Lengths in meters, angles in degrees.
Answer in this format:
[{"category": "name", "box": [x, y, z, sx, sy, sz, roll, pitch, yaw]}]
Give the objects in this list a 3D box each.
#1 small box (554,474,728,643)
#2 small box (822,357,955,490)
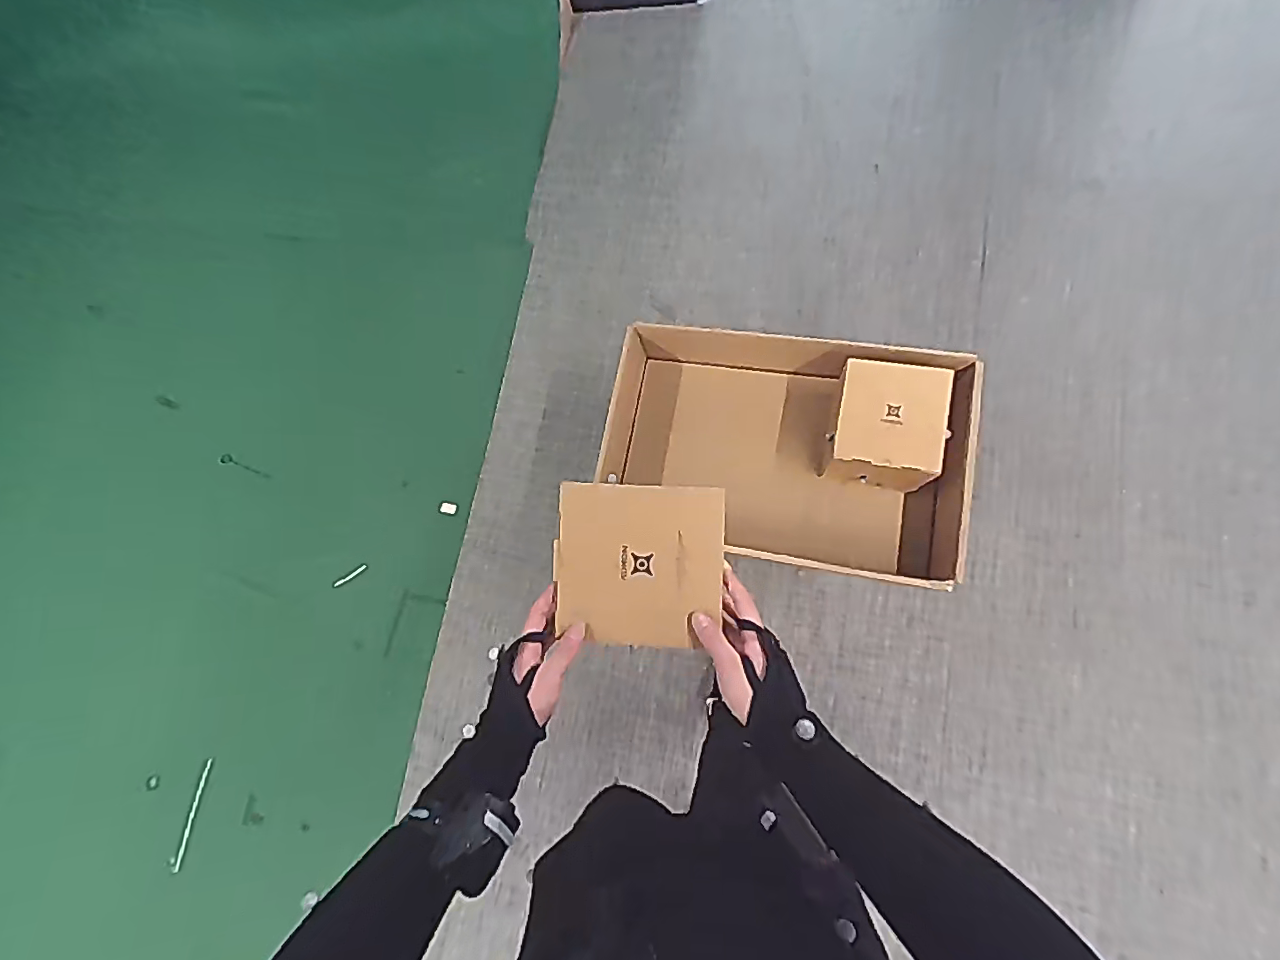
[{"category": "small box", "box": [0.009, 0.085, 0.636, 0.179, 0.176, 0.168, 2, 86, 6]}, {"category": "small box", "box": [0.424, -0.093, 0.946, 0.168, 0.176, 0.179, 11, 82, 13]}]
